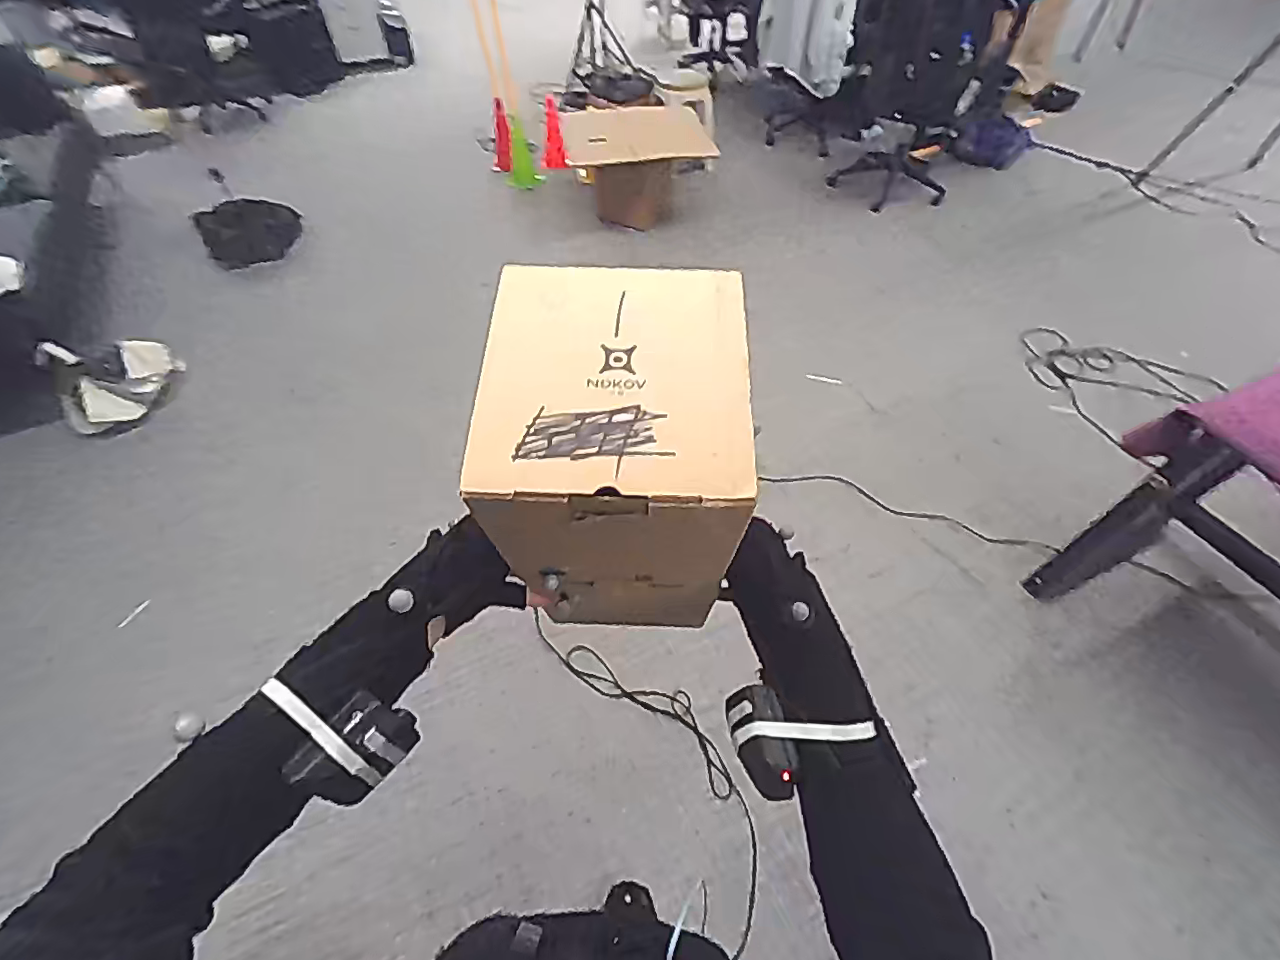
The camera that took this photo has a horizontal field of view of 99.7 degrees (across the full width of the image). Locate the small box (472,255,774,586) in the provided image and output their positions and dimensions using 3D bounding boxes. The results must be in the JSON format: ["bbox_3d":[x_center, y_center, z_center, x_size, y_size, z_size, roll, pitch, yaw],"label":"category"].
[{"bbox_3d":[-0.003,-0.031,0.395,0.168,0.176,0.179,6,64,1],"label":"small box"}]
